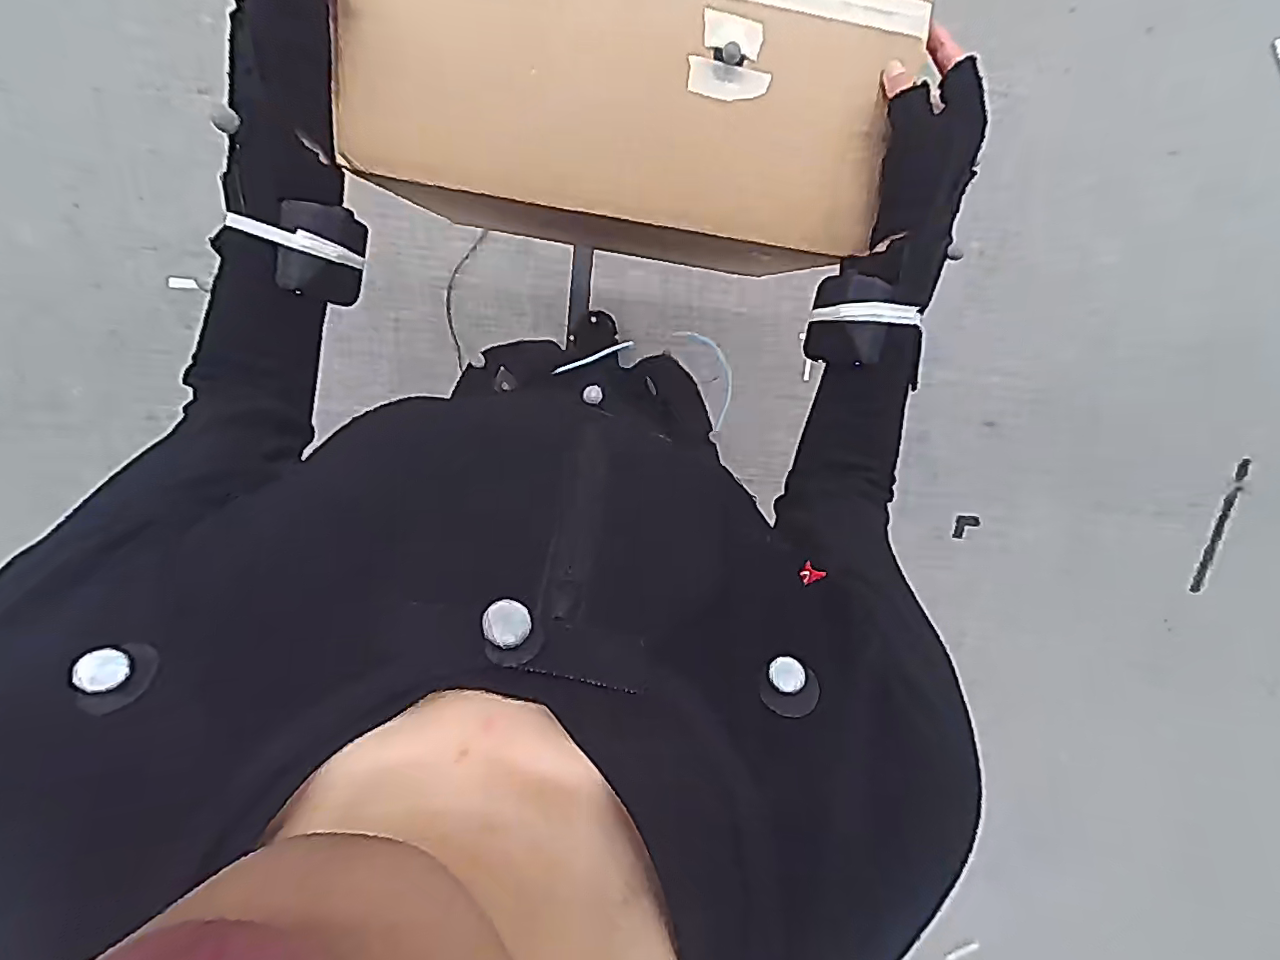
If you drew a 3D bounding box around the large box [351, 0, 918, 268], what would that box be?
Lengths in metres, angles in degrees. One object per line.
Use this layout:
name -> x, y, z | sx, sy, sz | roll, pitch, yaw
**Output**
large box -> -0.007, -0.402, 0.518 | 0.408, 0.320, 0.320 | 7, 108, -7
